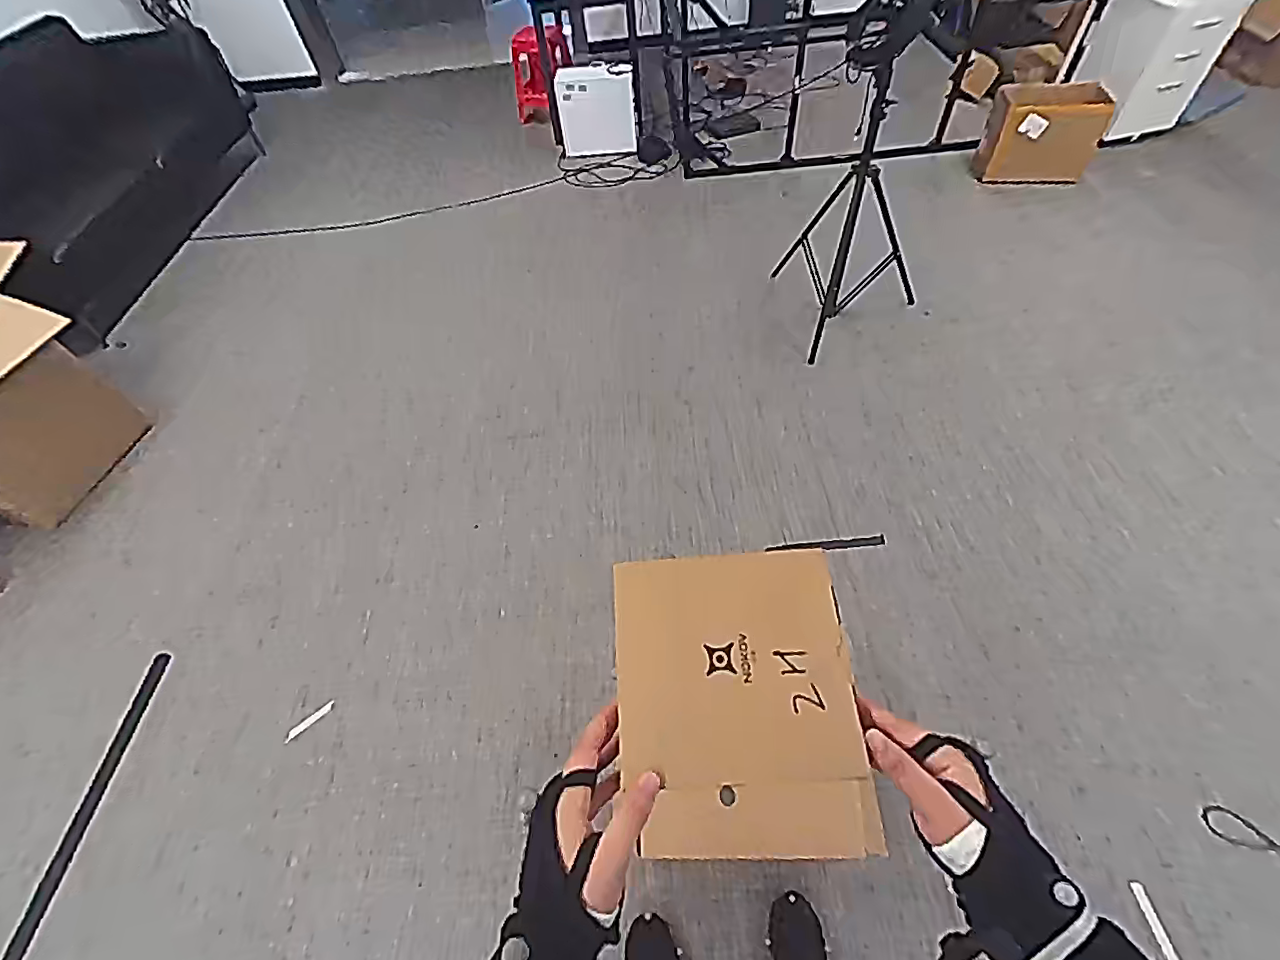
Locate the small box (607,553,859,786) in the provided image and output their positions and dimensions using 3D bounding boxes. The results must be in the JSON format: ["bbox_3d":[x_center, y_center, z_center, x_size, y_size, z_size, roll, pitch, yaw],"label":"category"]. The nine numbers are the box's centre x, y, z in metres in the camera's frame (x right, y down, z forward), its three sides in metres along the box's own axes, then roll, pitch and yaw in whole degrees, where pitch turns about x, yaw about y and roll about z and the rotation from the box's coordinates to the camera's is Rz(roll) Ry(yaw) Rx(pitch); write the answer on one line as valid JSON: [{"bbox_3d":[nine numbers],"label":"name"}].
[{"bbox_3d":[0.069,0.173,0.483,0.179,0.176,0.168,-4,65,2],"label":"small box"}]
